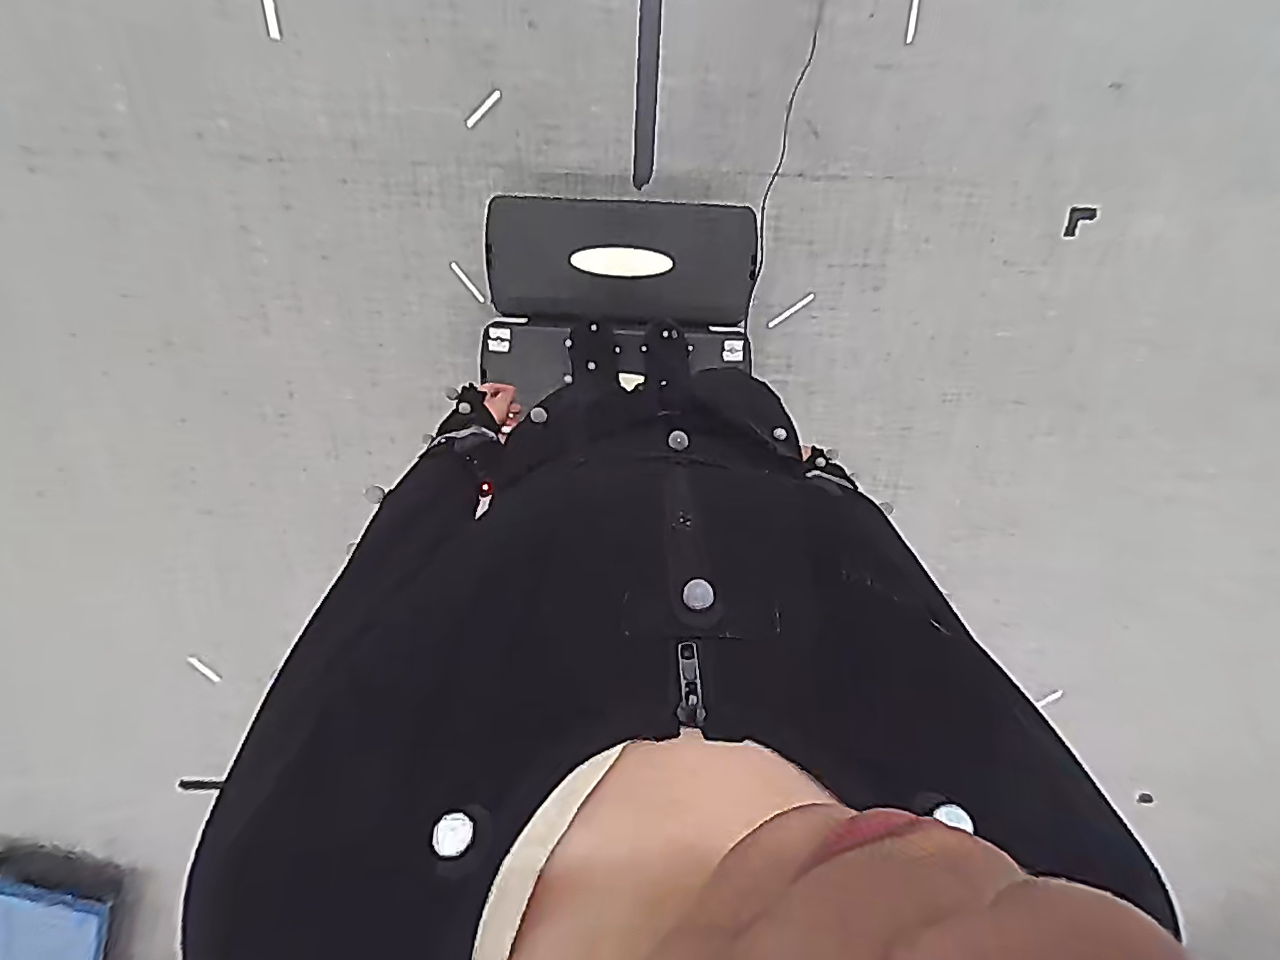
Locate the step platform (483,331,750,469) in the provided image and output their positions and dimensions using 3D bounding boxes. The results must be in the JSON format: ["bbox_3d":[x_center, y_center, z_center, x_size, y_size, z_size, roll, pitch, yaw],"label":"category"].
[{"bbox_3d":[-0.058,-0.210,1.425,0.684,0.204,0.286,6,107,-1],"label":"step platform"}]
